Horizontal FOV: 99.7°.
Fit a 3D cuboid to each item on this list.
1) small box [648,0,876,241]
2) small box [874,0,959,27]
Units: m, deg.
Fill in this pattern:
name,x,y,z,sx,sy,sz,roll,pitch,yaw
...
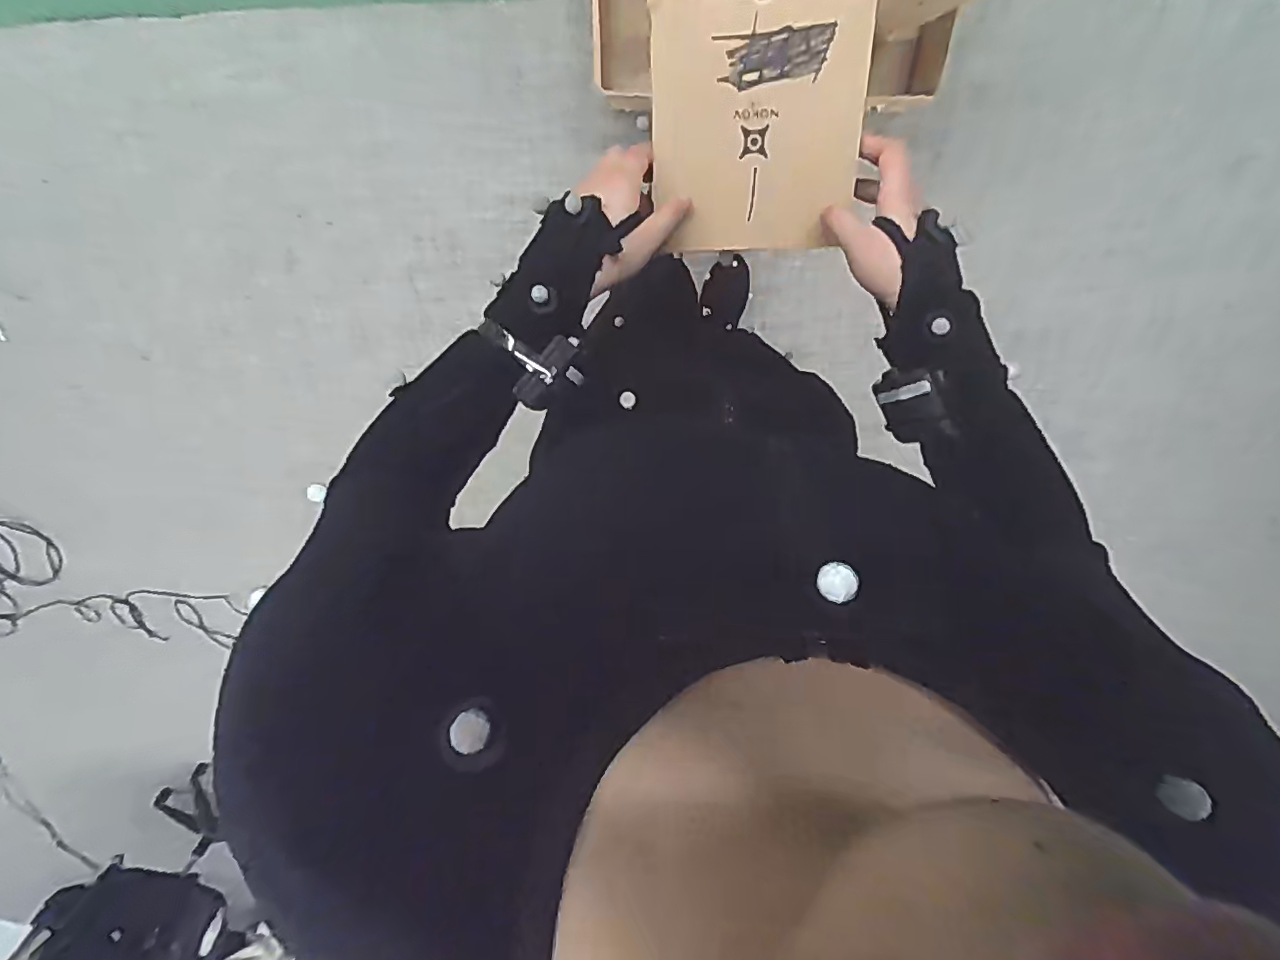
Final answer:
name,x,y,z,sx,sy,sz,roll,pitch,yaw
small box,0.090,-0.314,0.488,0.168,0.176,0.179,-1,115,2
small box,0.362,-0.770,0.762,0.168,0.176,0.179,4,123,3
